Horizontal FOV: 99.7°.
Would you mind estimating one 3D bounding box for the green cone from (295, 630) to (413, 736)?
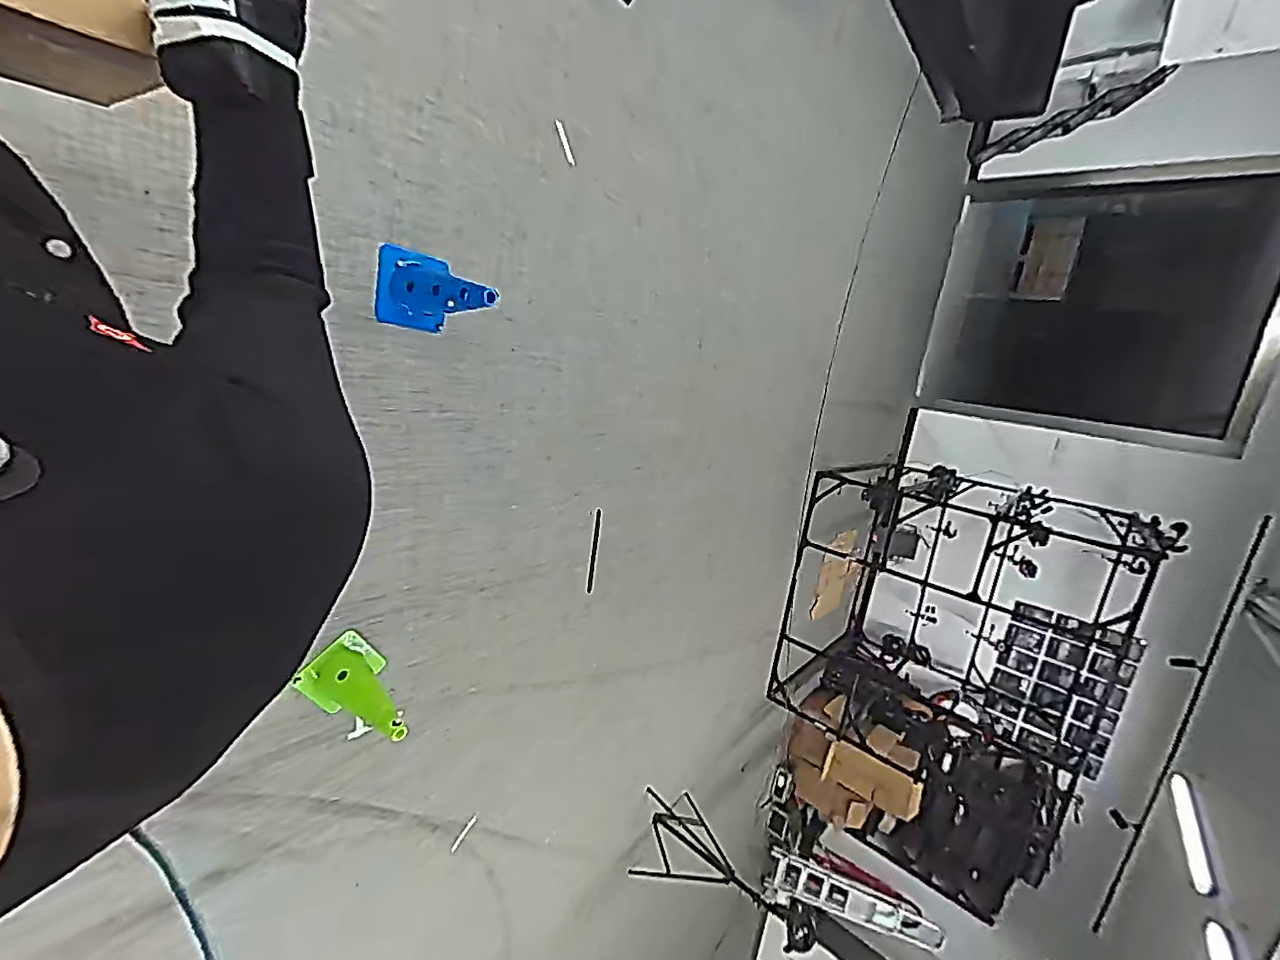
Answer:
[{"bbox_3d":[-0.749,0.608,1.503,0.202,0.368,0.200,-49,138,-30],"label":"green cone"}]

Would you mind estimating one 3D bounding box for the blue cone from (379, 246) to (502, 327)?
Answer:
[{"bbox_3d":[-0.496,-0.490,1.398,0.192,0.380,0.193,-2,106,-53],"label":"blue cone"}]

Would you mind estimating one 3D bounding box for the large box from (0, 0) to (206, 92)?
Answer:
[{"bbox_3d":[-0.521,-0.454,0.264,0.408,0.320,0.320,-13,119,-52],"label":"large box"}]
